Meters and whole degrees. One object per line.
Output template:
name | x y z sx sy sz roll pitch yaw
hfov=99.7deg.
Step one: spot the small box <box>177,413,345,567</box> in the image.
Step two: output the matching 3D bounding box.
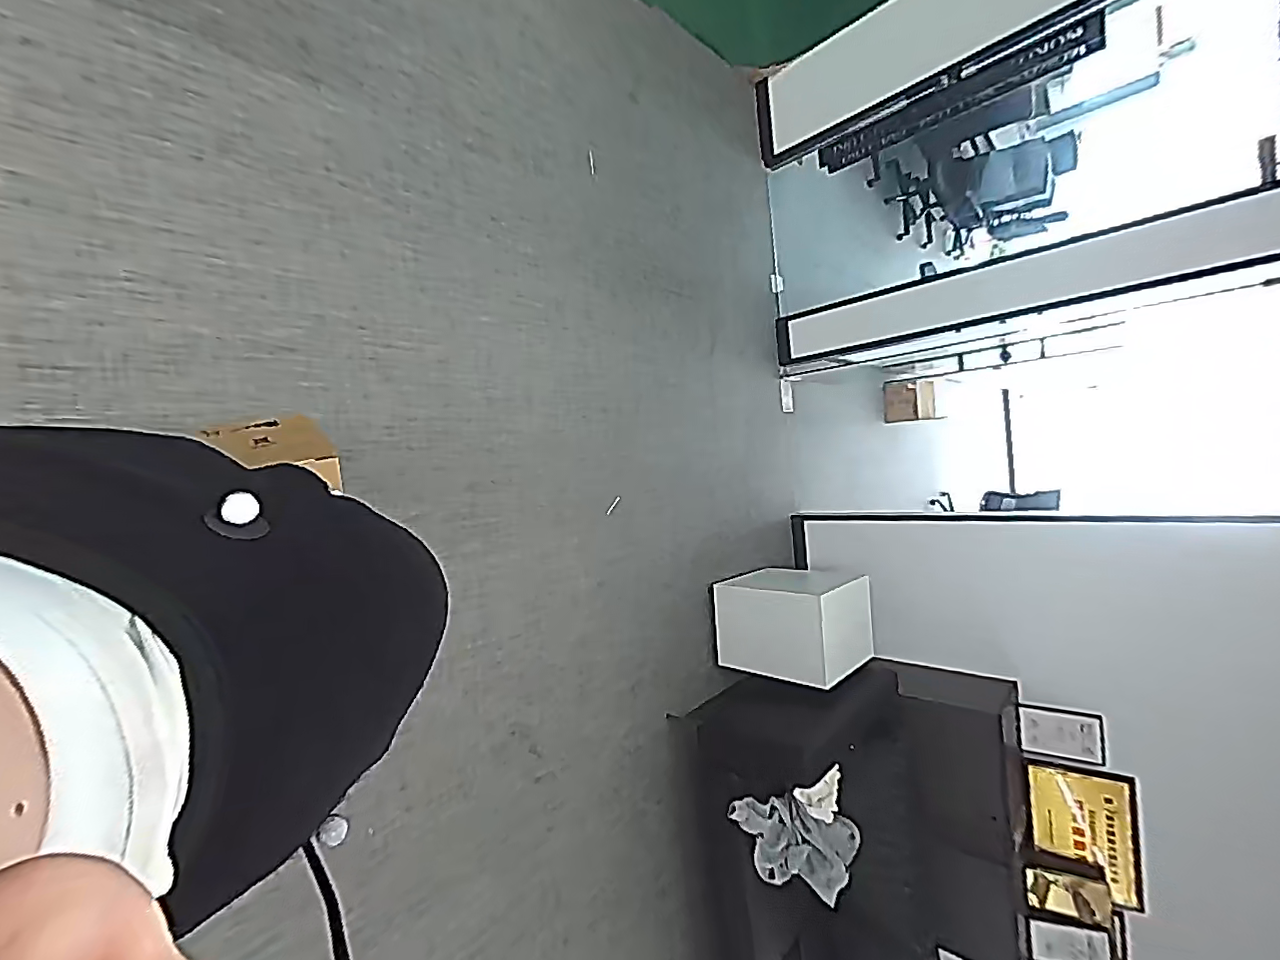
small box | -0.586 0.016 0.849 0.168 0.179 0.176 -20 130 -39
